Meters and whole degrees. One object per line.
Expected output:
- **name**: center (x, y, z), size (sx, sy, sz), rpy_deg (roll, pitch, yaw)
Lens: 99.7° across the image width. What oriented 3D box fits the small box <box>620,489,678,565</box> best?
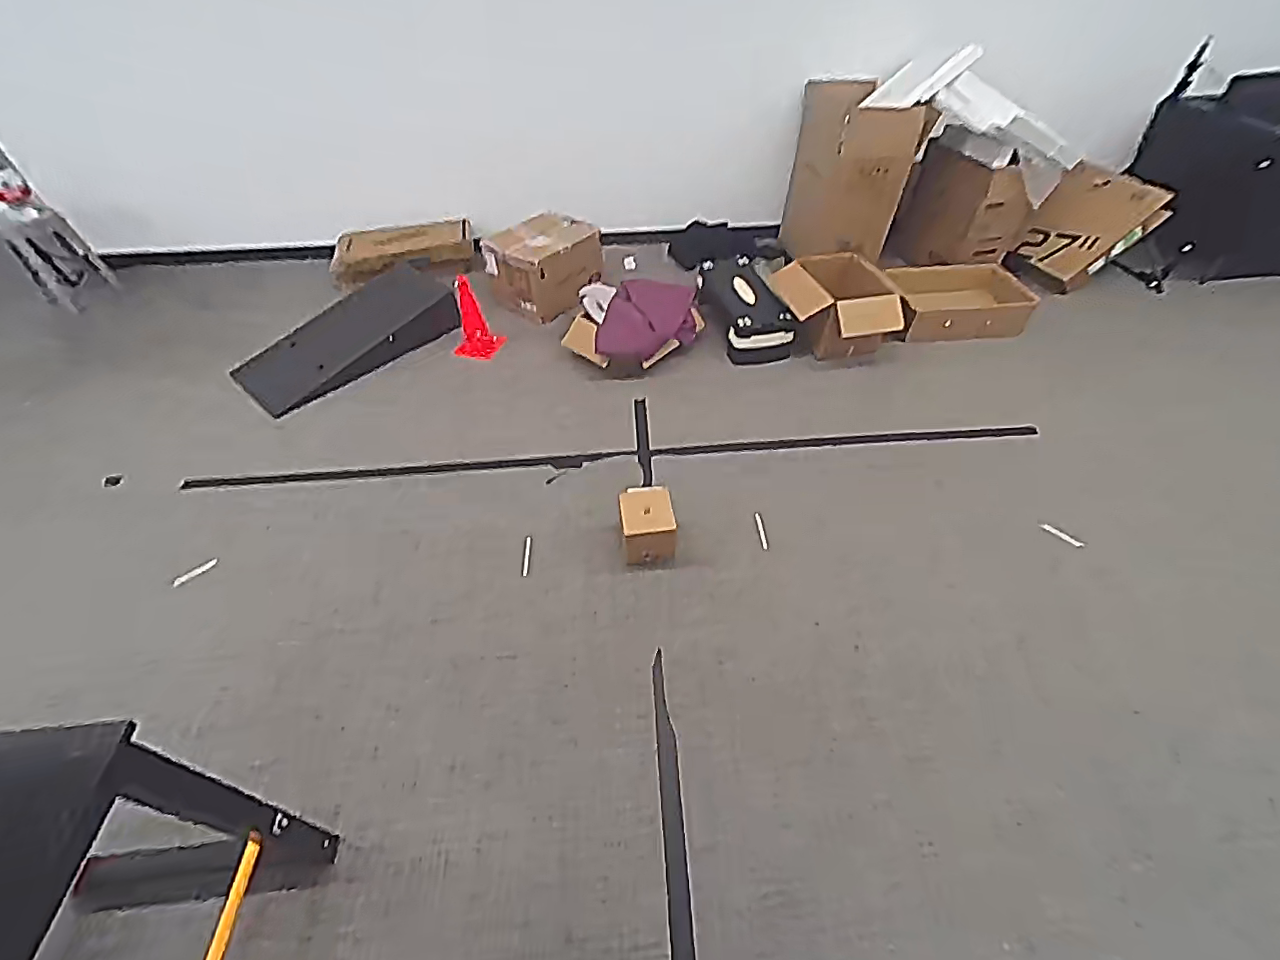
- **small box**: center (0.025, 0.155, 1.774), size (0.168, 0.176, 0.179), rpy_deg (-7, 49, -5)
